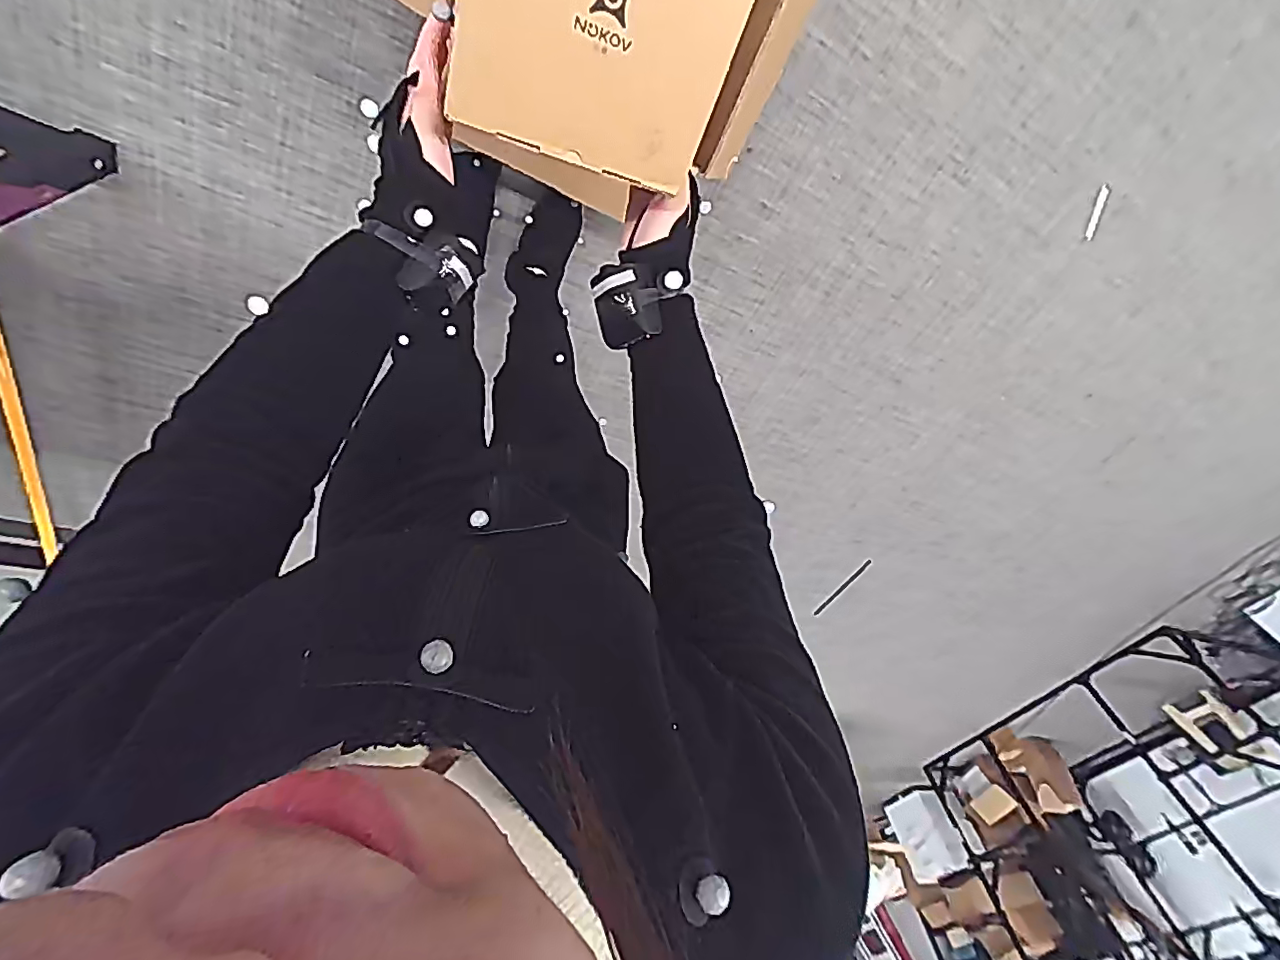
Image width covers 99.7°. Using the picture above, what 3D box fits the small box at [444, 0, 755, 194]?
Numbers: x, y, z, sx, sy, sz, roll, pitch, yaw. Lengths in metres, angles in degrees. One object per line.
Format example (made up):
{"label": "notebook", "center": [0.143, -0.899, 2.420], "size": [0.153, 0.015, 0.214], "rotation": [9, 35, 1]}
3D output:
{"label": "small box", "center": [-0.032, -0.336, 0.366], "size": [0.168, 0.176, 0.179], "rotation": [7, 133, -24]}
